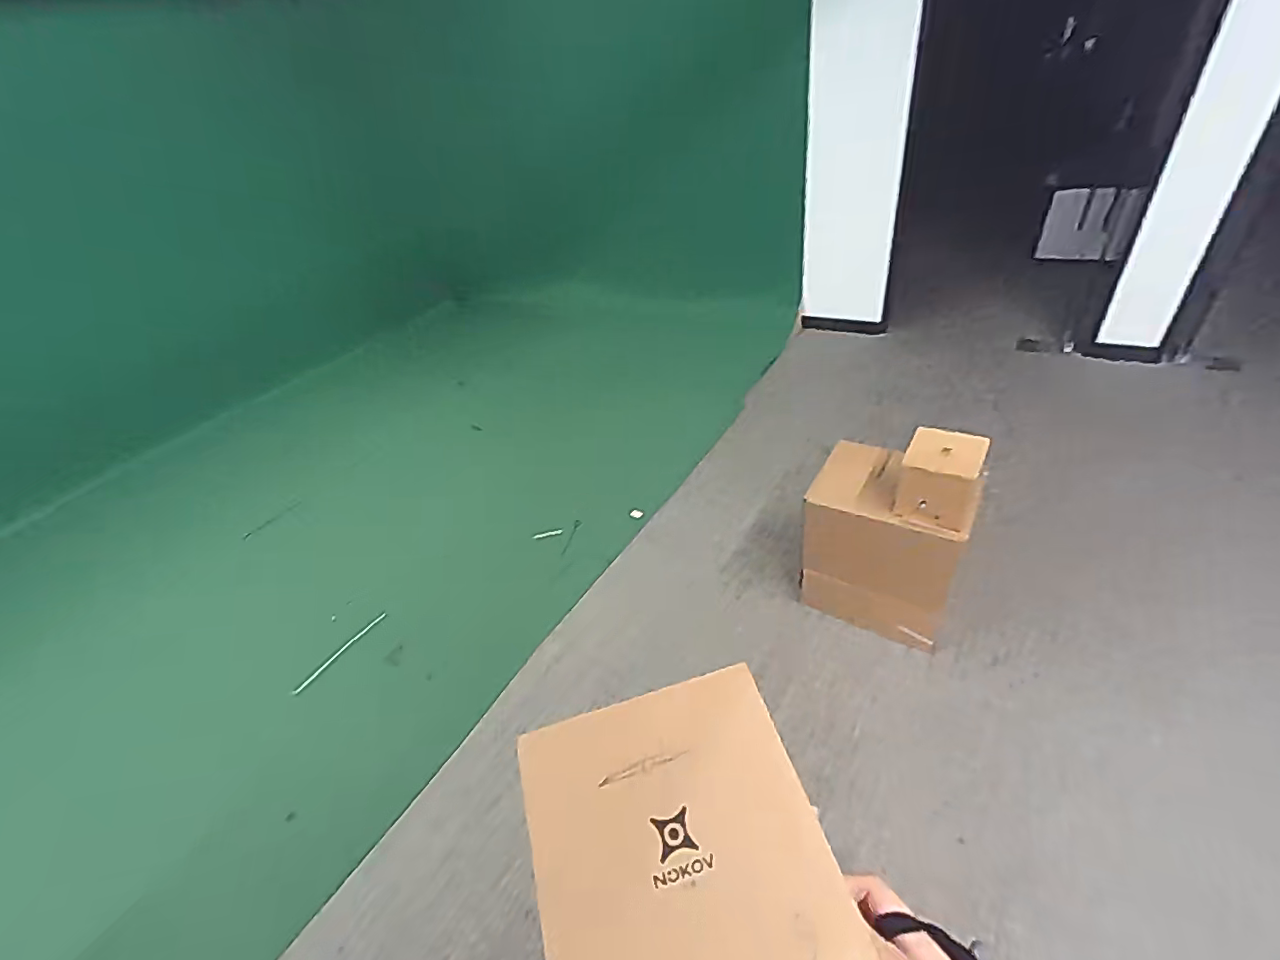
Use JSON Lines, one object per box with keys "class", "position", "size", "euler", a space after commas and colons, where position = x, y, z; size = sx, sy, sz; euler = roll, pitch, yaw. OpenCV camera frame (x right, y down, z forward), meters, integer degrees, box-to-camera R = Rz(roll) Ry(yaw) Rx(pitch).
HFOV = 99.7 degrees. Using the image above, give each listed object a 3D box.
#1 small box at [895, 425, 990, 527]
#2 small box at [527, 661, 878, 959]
{"class": "small box", "position": [0.766, -0.012, 1.380], "size": [0.168, 0.176, 0.179], "euler": [18, 48, 32]}
{"class": "small box", "position": [0.028, 0.259, 0.376], "size": [0.168, 0.176, 0.179], "euler": [-13, 48, -8]}
